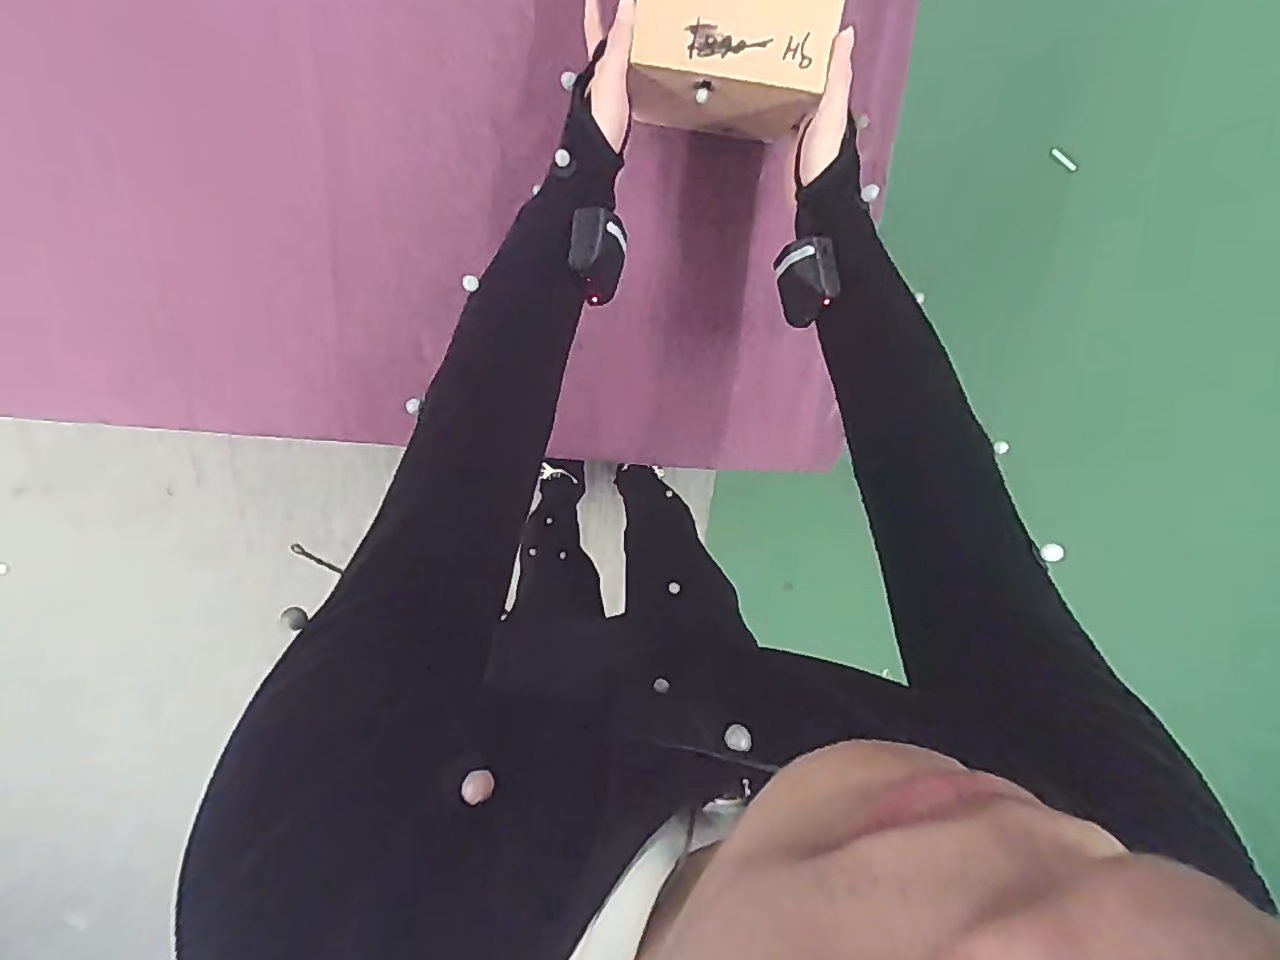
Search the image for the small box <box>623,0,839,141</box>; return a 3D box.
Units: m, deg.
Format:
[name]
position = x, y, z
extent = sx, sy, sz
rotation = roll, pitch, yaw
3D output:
[small box]
position = 0.078, -0.434, 0.482
extent = 0.168, 0.176, 0.179
rotation = 8, 109, -2
